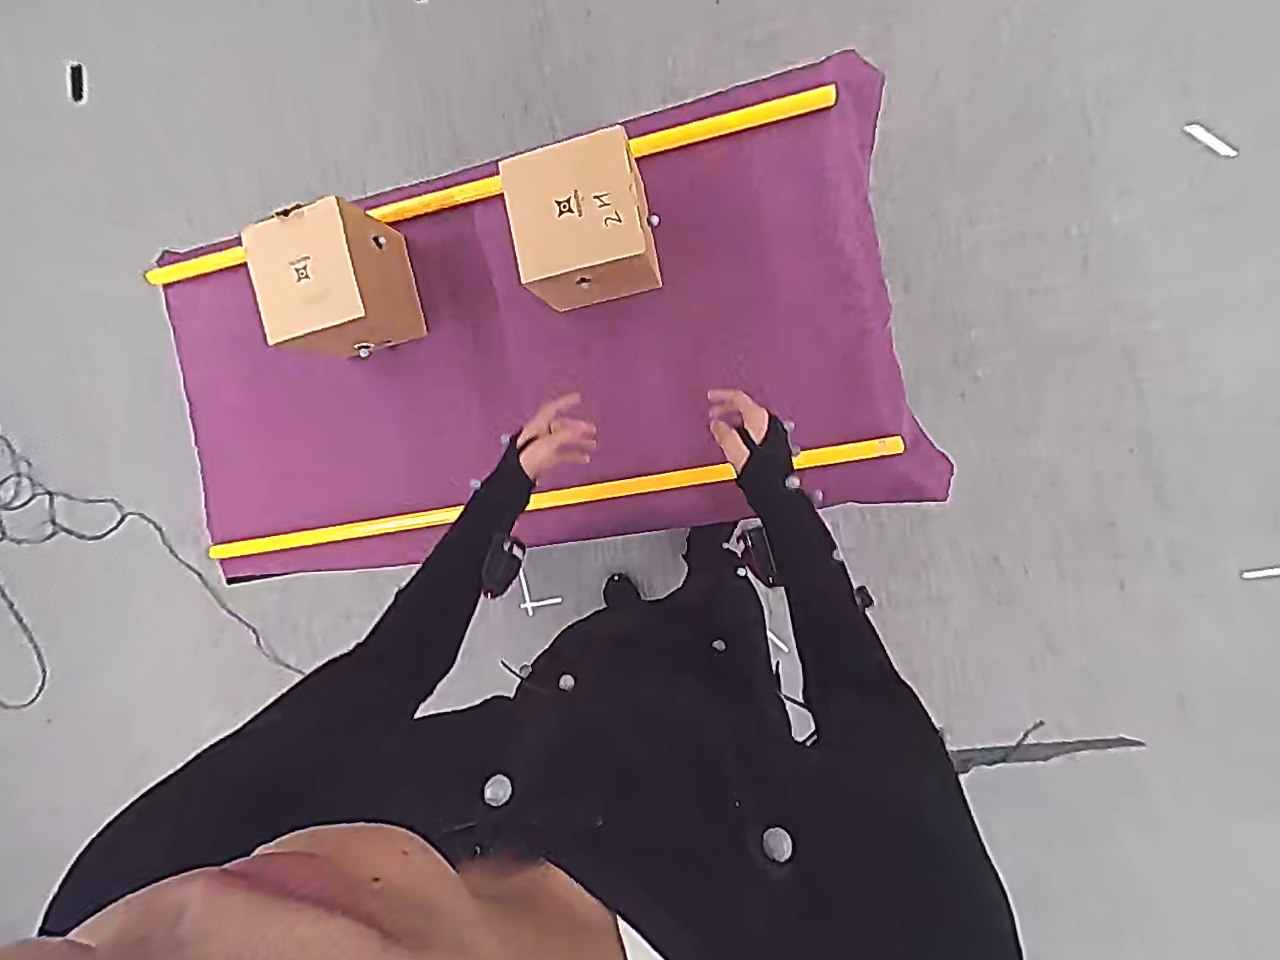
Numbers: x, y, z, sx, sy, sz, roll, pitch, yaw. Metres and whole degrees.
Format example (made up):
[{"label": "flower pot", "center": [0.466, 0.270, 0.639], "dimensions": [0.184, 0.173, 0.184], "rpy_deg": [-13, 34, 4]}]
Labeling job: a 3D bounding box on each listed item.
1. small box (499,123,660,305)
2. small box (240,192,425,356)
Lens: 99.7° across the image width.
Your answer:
[{"label": "small box", "center": [-0.078, -0.366, 0.782], "dimensions": [0.179, 0.176, 0.168], "rpy_deg": [-10, 93, 10]}, {"label": "small box", "center": [-0.469, -0.309, 0.849], "dimensions": [0.168, 0.176, 0.179], "rpy_deg": [-12, 92, 10]}]
